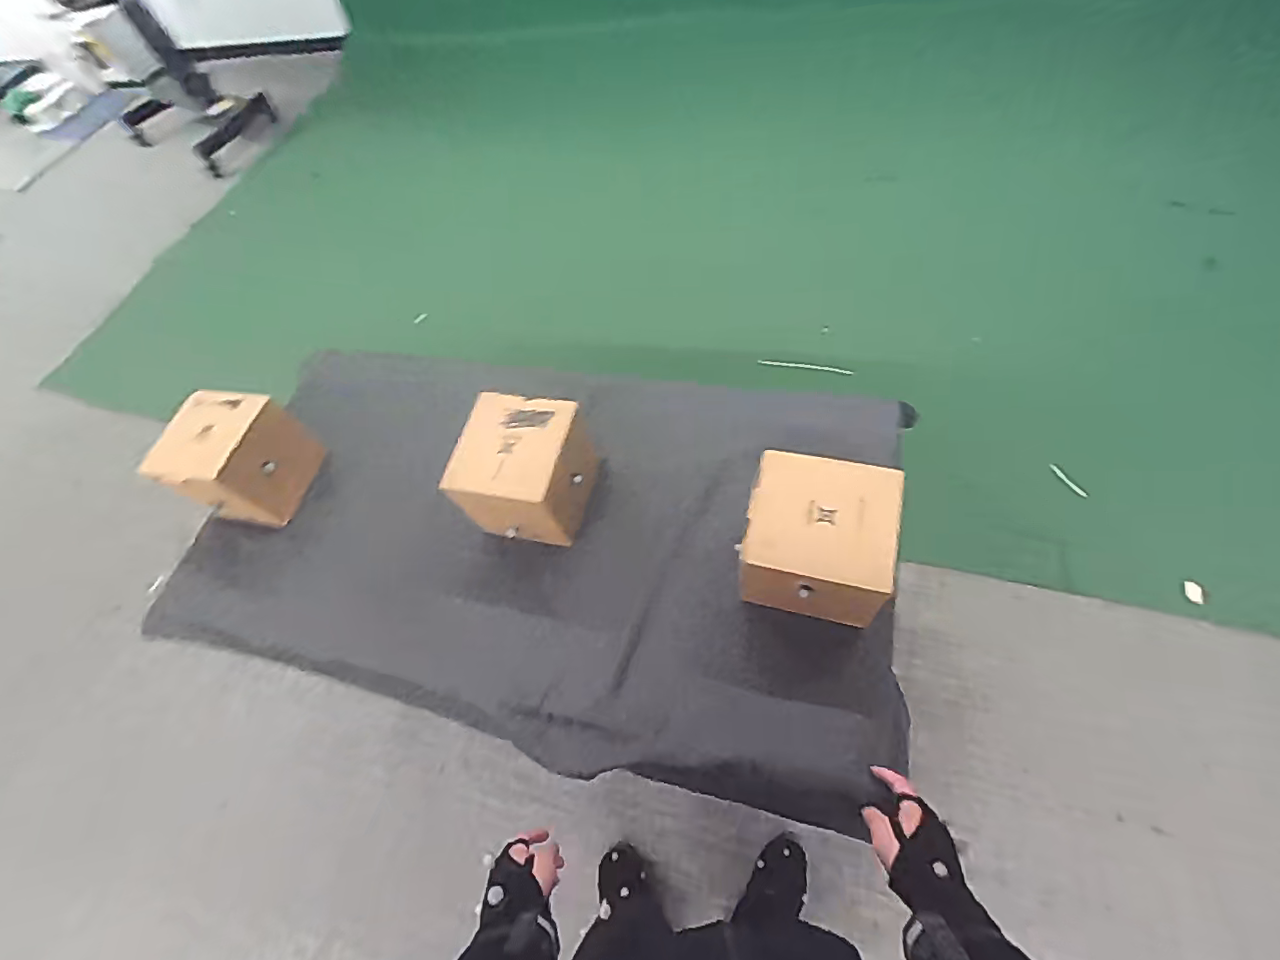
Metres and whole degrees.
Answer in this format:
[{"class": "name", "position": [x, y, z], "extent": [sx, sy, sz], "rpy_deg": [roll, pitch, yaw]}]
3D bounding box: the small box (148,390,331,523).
[{"class": "small box", "position": [-0.711, -0.038, 0.986], "extent": [0.168, 0.176, 0.179], "rpy_deg": [7, 63, 13]}]

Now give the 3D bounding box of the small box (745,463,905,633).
[{"class": "small box", "position": [0.246, 0.099, 0.750], "extent": [0.179, 0.176, 0.168], "rpy_deg": [11, 64, 15]}]

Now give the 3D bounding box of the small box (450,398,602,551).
[{"class": "small box", "position": [-0.170, -0.005, 0.878], "extent": [0.168, 0.176, 0.179], "rpy_deg": [9, 64, 14]}]
